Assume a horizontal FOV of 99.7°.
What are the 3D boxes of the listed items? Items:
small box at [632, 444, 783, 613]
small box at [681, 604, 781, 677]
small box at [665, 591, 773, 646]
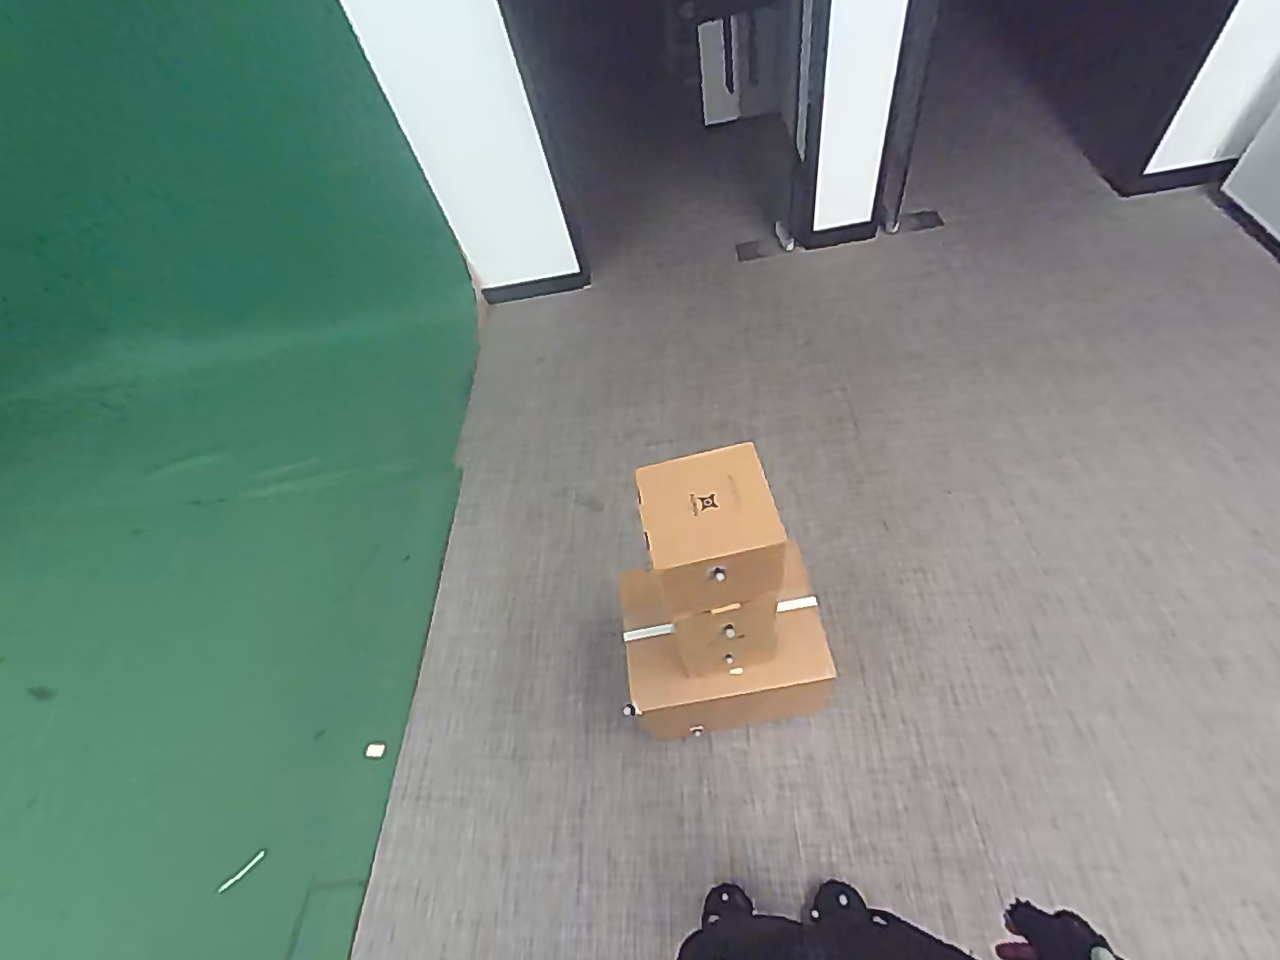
[{"bbox_3d":[0.098,0.077,0.783,0.179,0.176,0.168,-13,55,3],"label":"small box"},{"bbox_3d":[0.157,0.262,1.044,0.179,0.176,0.168,-15,54,1],"label":"small box"},{"bbox_3d":[0.122,0.167,0.916,0.168,0.176,0.179,-14,54,3],"label":"small box"}]
